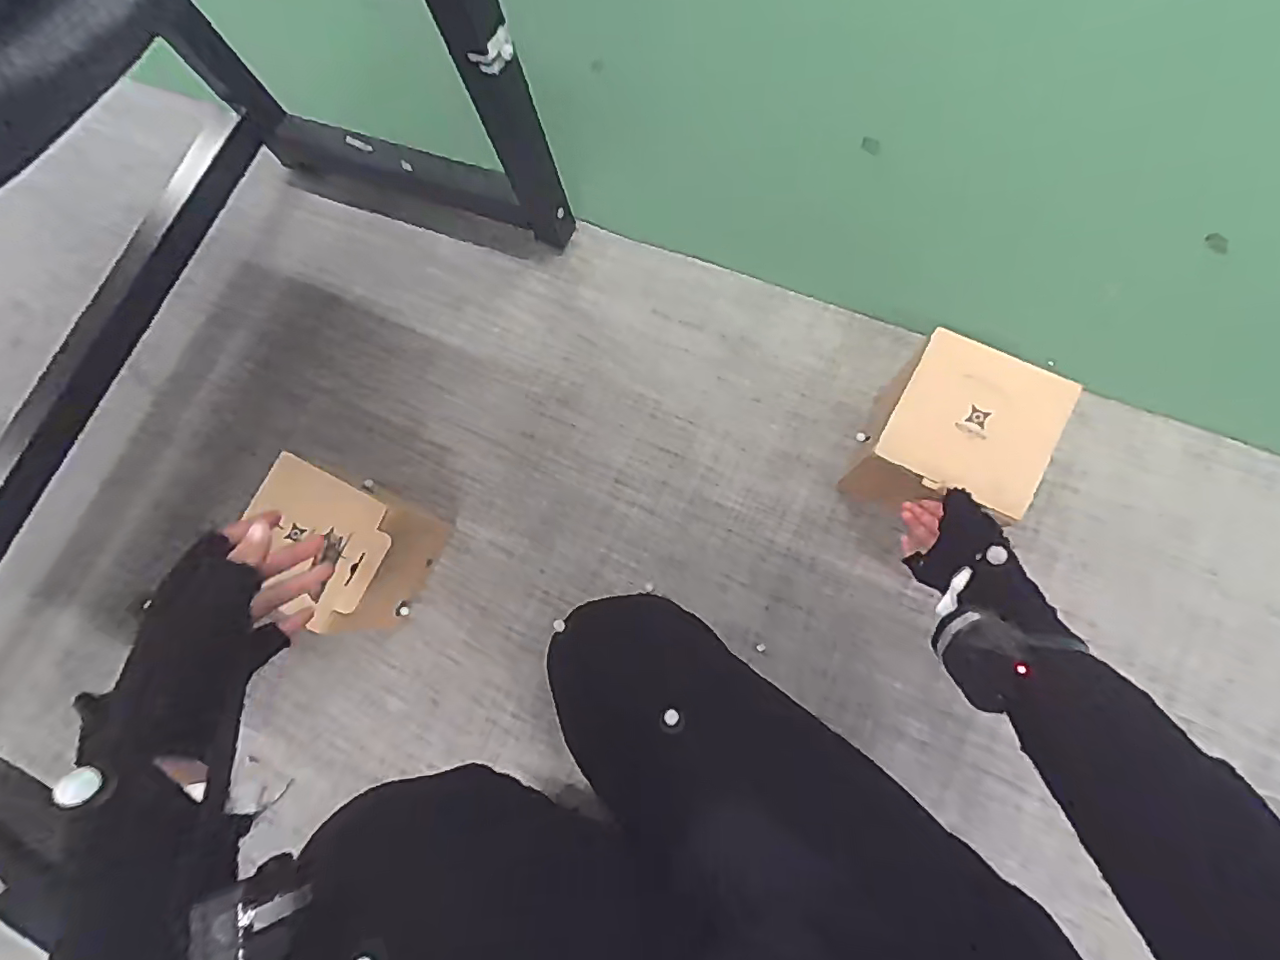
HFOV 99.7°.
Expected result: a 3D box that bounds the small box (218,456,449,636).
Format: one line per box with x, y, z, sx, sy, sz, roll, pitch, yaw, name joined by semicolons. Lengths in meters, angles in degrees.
-0.395;0.091;0.731;0.179;0.176;0.168;25;82;13;small box
